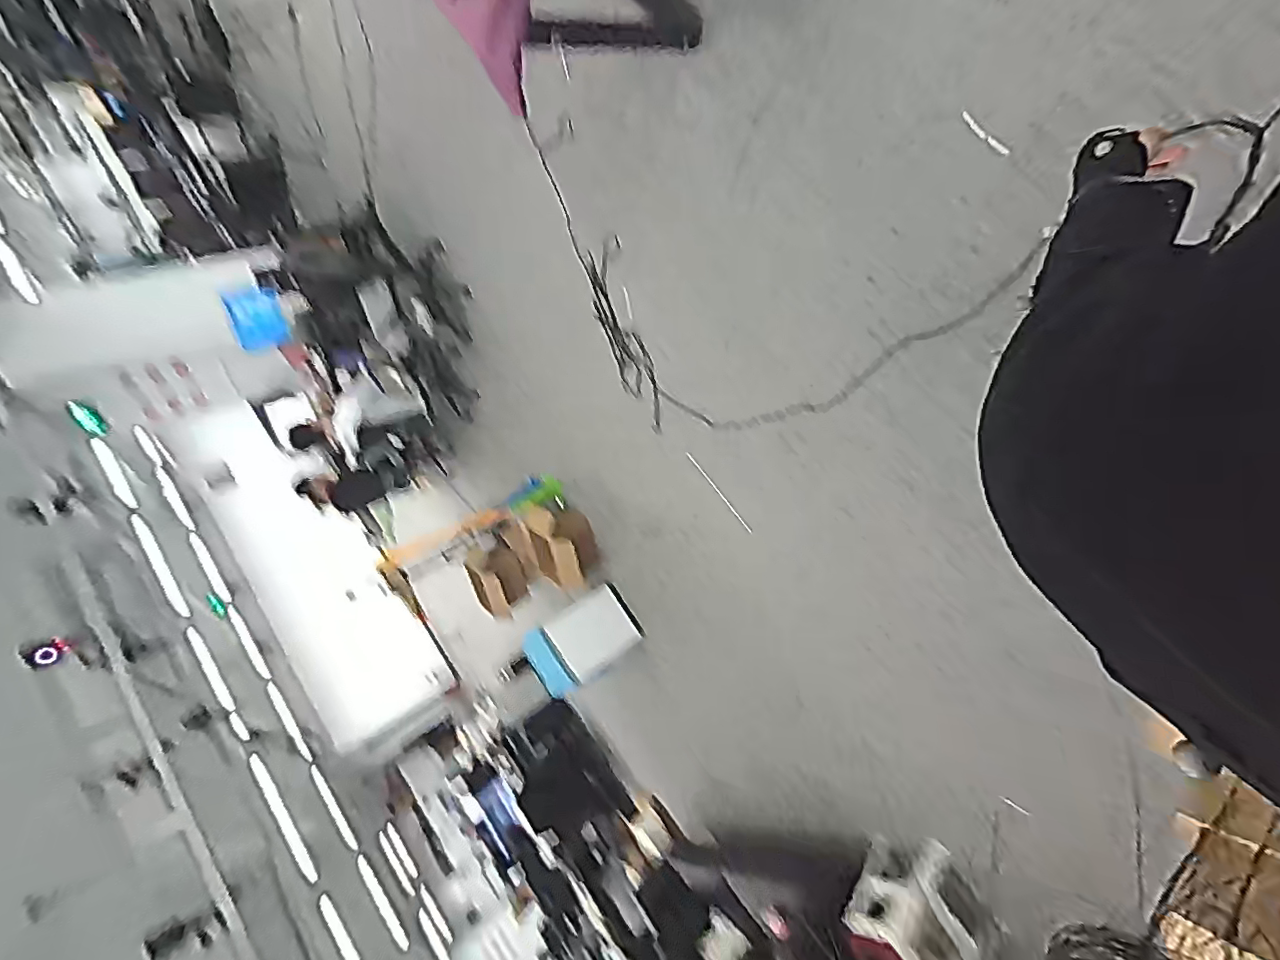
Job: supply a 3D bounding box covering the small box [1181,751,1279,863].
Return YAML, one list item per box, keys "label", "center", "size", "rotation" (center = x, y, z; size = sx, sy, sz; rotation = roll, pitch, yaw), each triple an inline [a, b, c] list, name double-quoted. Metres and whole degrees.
- label: "small box"
  center: [0.999, 0.583, 0.869]
  size: [0.168, 0.176, 0.179]
  rotation: [6, 121, 53]

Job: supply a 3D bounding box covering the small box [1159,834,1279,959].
- label: "small box"
  center: [0.886, 0.657, 0.775]
  size: [0.179, 0.176, 0.168]
  rotation: [9, 123, 51]
